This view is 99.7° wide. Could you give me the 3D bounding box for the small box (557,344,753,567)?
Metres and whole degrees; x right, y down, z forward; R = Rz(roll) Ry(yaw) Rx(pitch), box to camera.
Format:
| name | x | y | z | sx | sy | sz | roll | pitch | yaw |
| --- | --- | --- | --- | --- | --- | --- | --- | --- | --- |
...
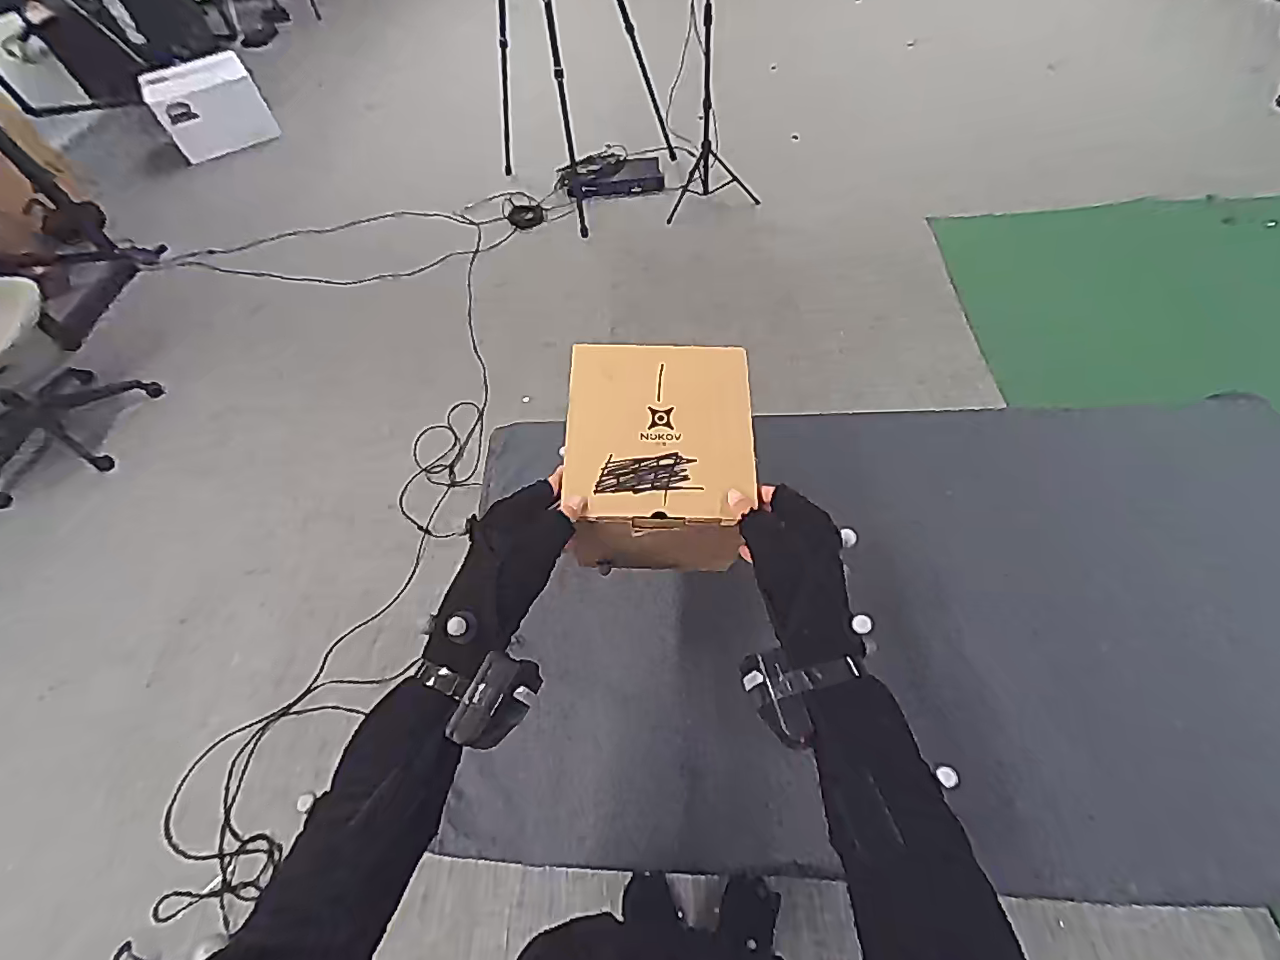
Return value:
| name | x | y | z | sx | sy | sz | roll | pitch | yaw |
| --- | --- | --- | --- | --- | --- | --- | --- | --- | --- |
| small box | 0.015 | -0.015 | 0.548 | 0.168 | 0.176 | 0.179 | 2 | 66 | 0 |
